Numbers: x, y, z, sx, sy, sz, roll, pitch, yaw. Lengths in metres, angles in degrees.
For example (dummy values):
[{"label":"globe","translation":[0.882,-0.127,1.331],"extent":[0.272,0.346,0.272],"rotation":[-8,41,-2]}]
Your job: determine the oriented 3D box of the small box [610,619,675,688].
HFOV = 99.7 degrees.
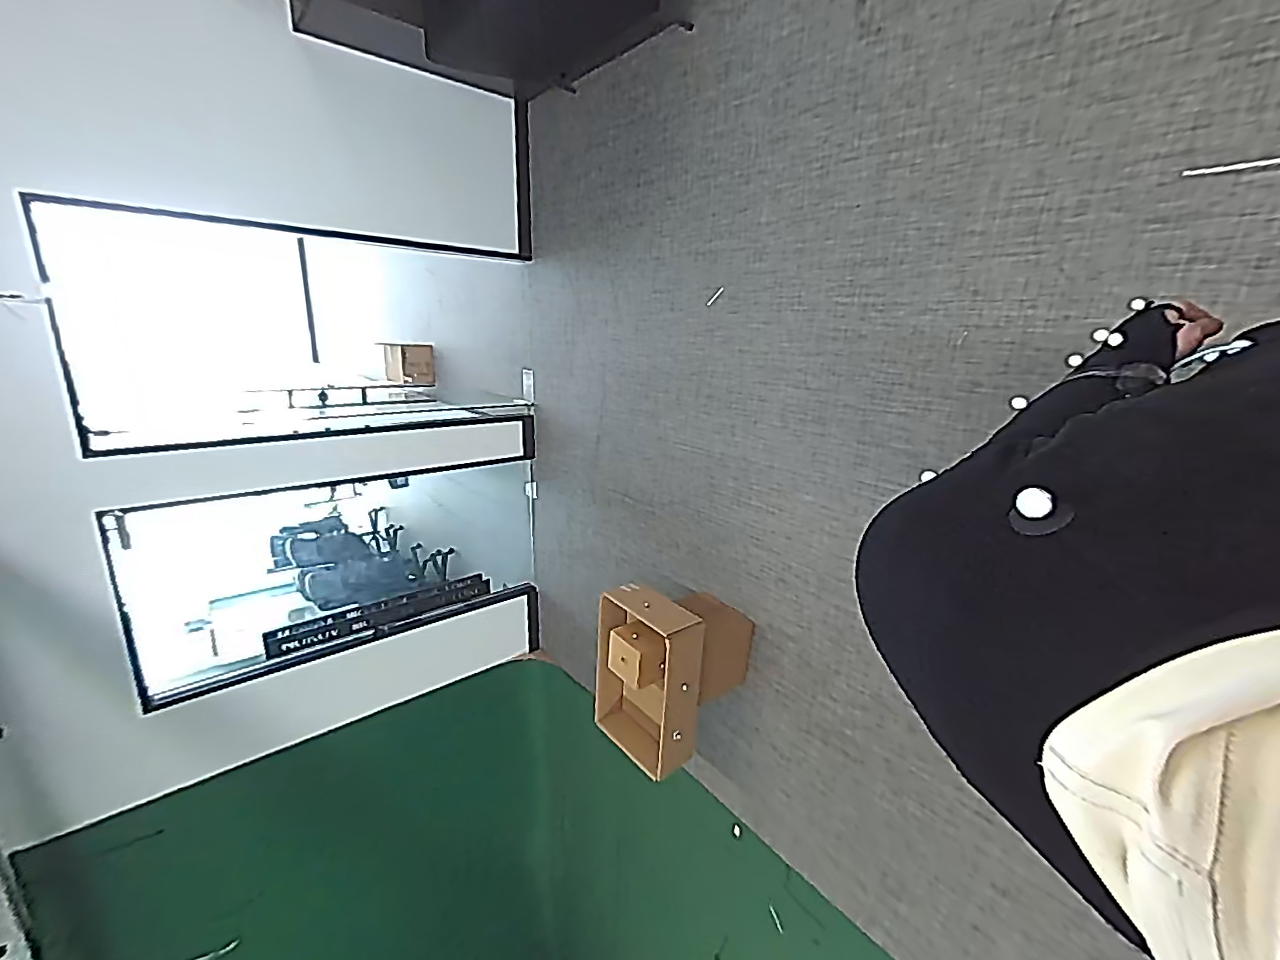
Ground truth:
[{"label":"small box","translation":[0.007,0.643,2.038],"extent":[0.179,0.176,0.168],"rotation":[22,114,46]}]
